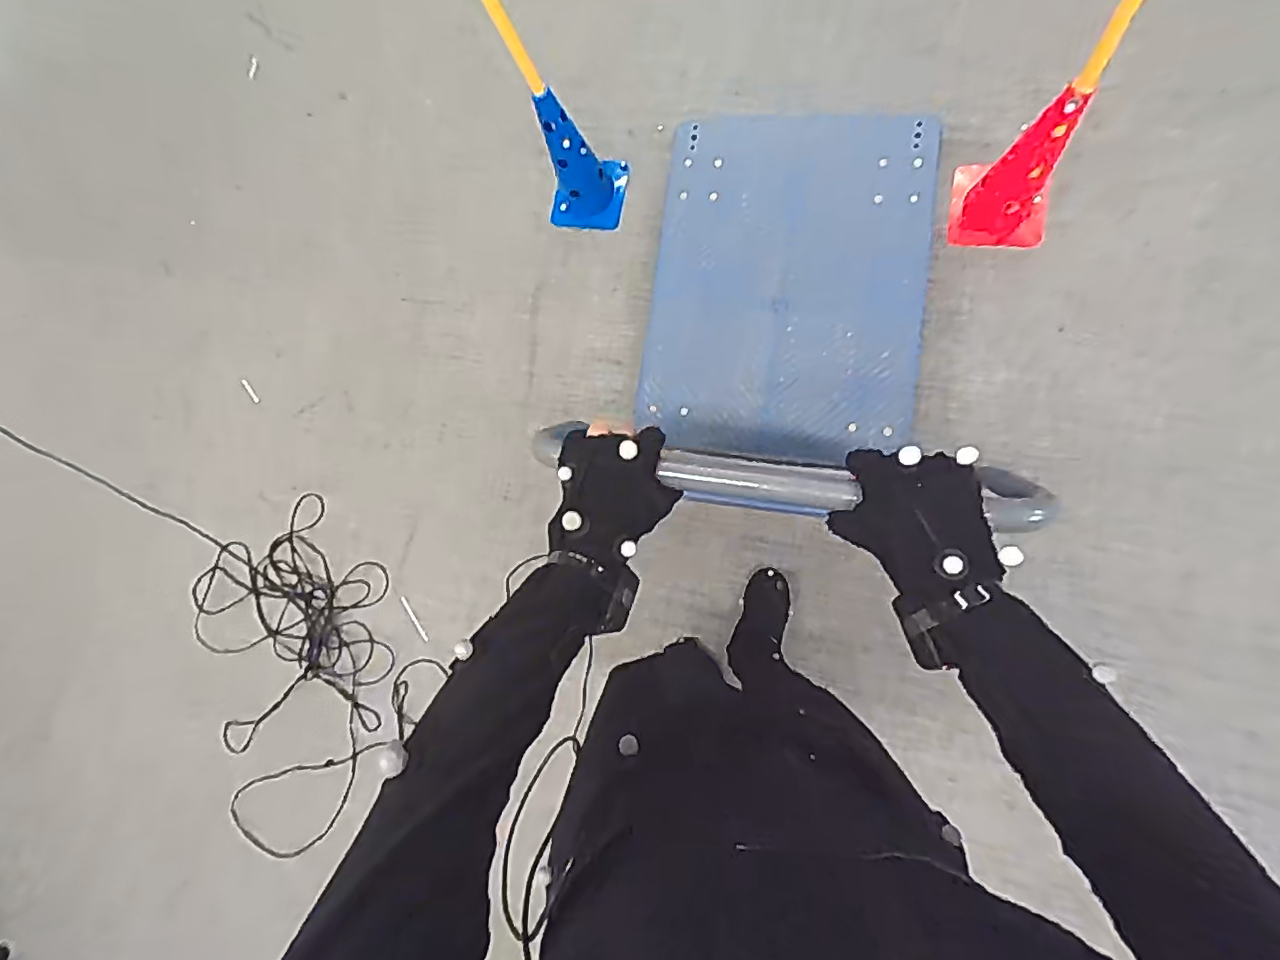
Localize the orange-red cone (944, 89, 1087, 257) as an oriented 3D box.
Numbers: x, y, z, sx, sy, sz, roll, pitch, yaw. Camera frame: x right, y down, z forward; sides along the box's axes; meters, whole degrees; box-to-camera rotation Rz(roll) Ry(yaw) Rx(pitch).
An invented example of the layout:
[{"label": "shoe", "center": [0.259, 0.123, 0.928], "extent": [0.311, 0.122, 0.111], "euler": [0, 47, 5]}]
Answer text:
[{"label": "orange-red cone", "center": [0.798, -0.646, 1.114], "extent": [0.199, 0.360, 0.198], "euler": [10, 85, 14]}]
